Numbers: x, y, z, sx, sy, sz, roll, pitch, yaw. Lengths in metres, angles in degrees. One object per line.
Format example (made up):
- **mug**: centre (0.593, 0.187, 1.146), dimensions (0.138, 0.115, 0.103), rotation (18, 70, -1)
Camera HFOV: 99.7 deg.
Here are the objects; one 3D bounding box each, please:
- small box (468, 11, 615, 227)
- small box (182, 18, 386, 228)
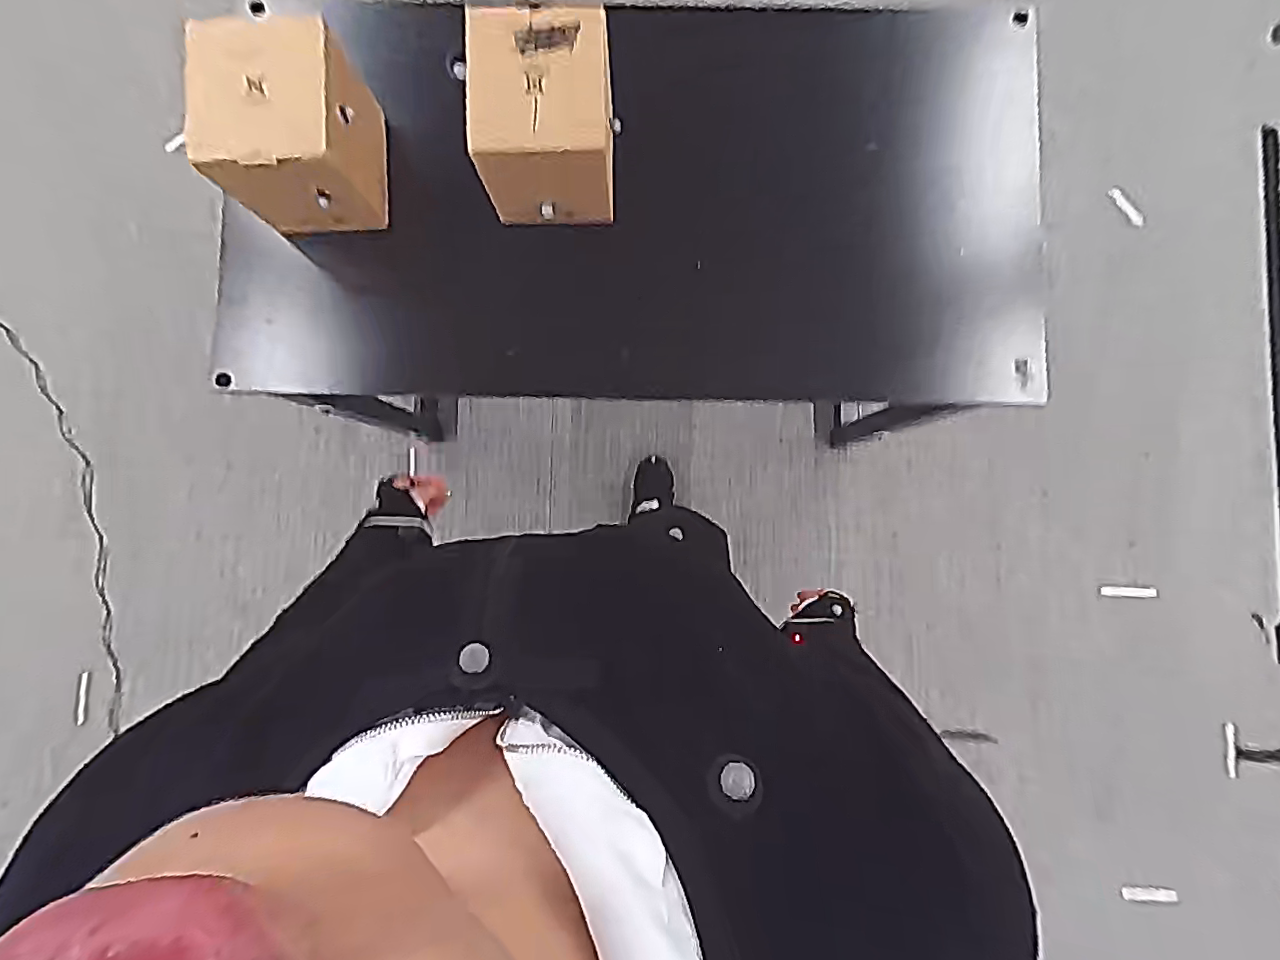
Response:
- **small box**: centre (-0.120, -0.463, 0.714), dimensions (0.168, 0.176, 0.179), rotation (0, 88, 0)
- **small box**: centre (-0.453, -0.452, 0.713), dimensions (0.168, 0.176, 0.179), rotation (-3, 86, -2)
